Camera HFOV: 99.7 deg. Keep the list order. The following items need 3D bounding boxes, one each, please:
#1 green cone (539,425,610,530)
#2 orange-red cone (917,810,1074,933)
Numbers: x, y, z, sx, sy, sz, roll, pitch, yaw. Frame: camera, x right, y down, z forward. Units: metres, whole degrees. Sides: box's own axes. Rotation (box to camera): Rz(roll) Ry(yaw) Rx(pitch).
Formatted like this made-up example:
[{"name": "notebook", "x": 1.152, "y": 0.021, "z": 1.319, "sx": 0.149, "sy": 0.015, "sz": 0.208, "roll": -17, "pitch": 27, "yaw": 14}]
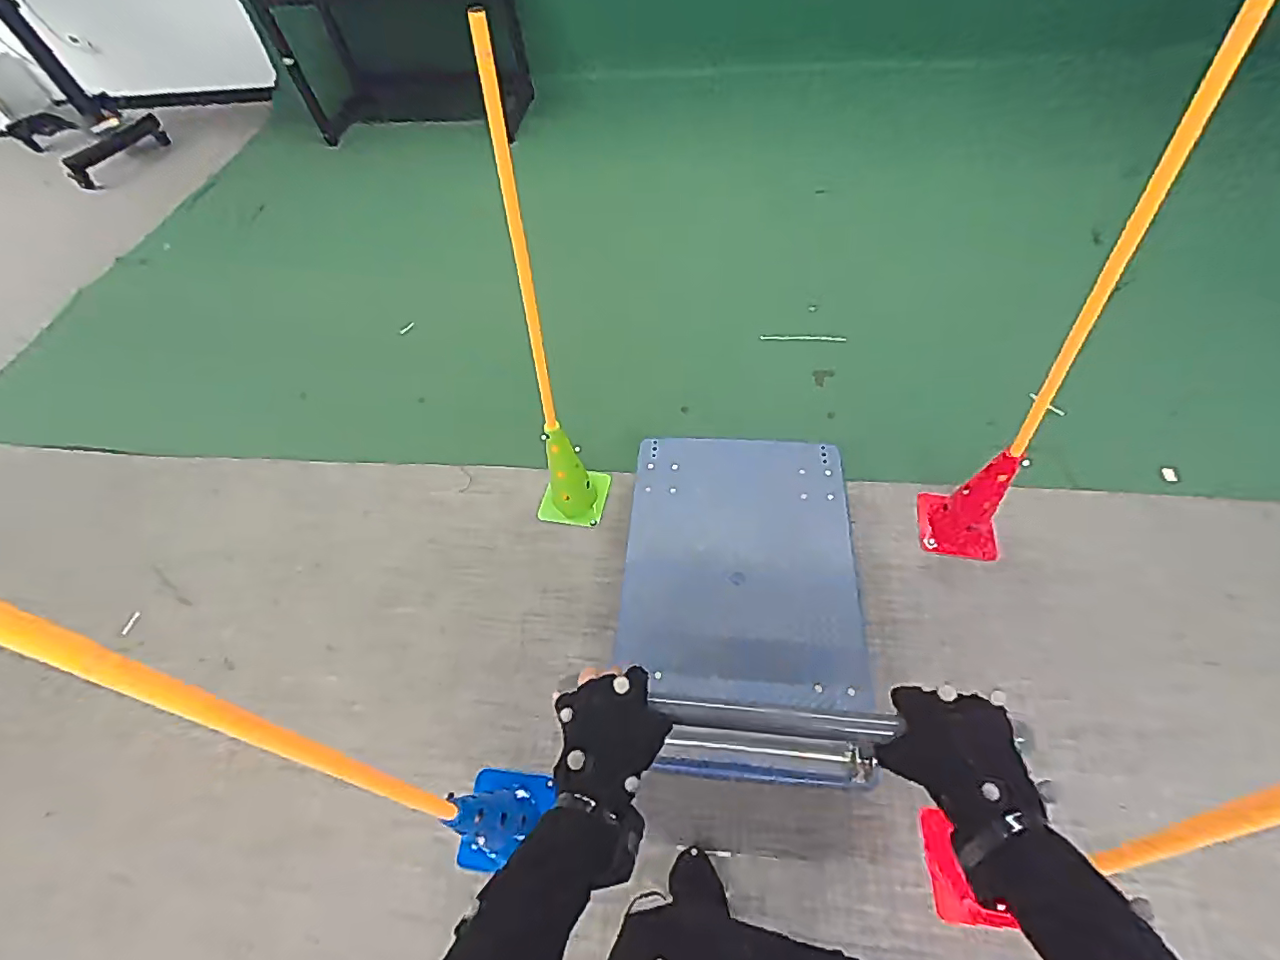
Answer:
[{"name": "green cone", "x": -0.224, "y": -0.033, "z": 1.596, "sx": 0.202, "sy": 0.368, "sz": 0.200, "roll": 6, "pitch": 56, "yaw": 11}, {"name": "orange-red cone", "x": 0.680, "y": 0.715, "z": 0.993, "sx": 0.199, "sy": 0.360, "sz": 0.198, "roll": 1, "pitch": 55, "yaw": 8}]
